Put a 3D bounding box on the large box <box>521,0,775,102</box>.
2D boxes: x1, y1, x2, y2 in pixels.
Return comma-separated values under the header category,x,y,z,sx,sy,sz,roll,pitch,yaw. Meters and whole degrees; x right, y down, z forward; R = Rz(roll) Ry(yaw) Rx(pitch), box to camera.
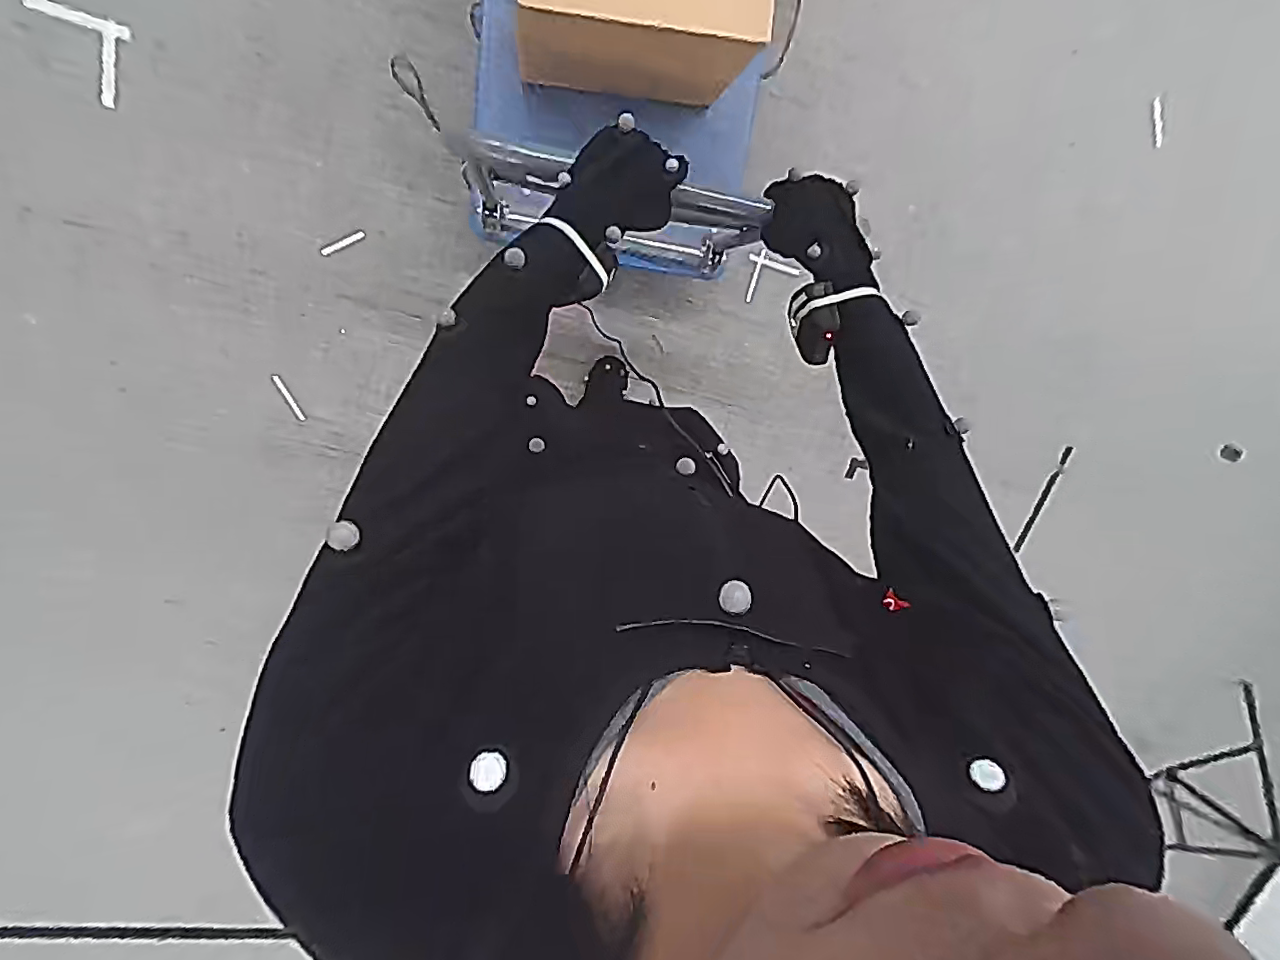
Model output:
category,x,y,z,sx,sy,sz,roll,pitch,yaw
large box,-0.004,-0.901,0.936,0.408,0.320,0.320,-1,109,-12
